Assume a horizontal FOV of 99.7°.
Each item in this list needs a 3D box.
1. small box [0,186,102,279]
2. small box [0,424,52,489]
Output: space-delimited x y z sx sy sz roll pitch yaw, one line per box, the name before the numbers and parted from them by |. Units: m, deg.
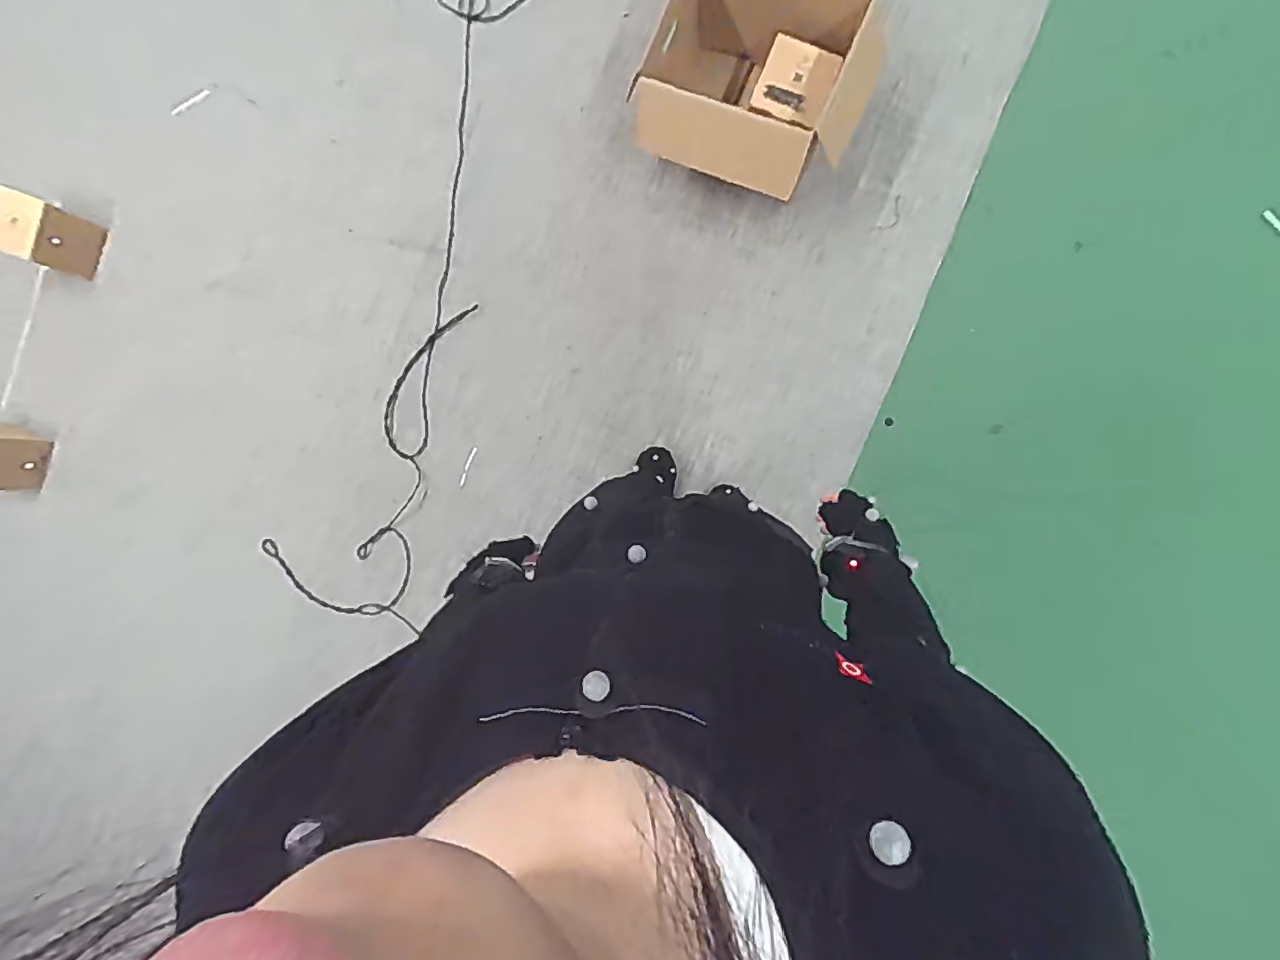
small box | -1.748 -0.720 1.585 0.168 0.176 0.179 20 95 5
small box | -1.966 -0.072 1.635 0.179 0.176 0.168 20 95 5
